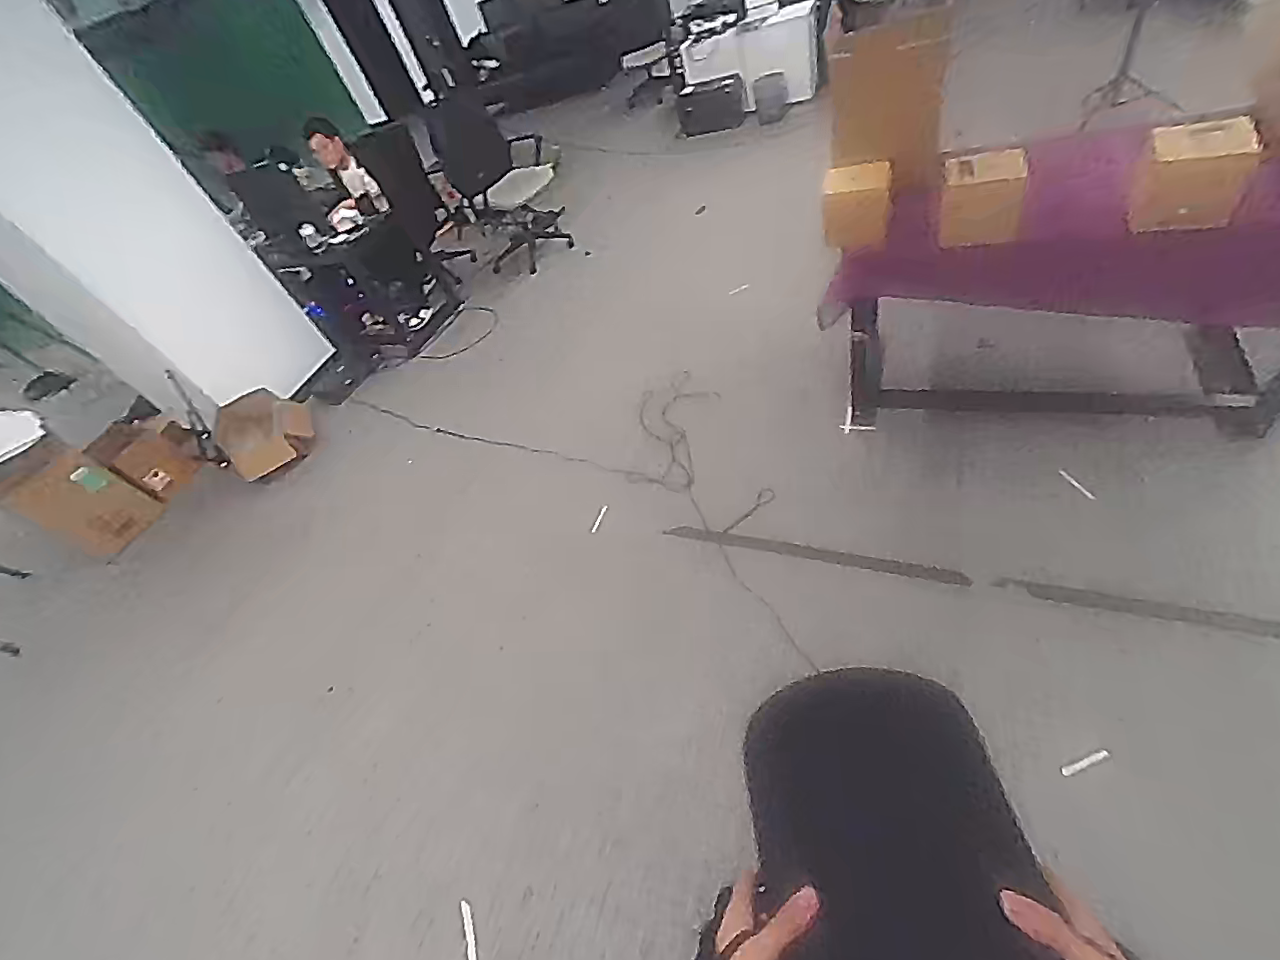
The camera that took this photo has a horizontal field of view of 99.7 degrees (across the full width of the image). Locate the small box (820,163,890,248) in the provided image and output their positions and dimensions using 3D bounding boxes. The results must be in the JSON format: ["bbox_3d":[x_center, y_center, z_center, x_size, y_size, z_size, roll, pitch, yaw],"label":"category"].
[{"bbox_3d":[0.640,-0.811,1.610,0.179,0.176,0.168,6,52,24],"label":"small box"}]

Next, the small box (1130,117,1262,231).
[{"bbox_3d":[1.282,-0.709,1.263,0.168,0.176,0.179,8,54,28],"label":"small box"}]
